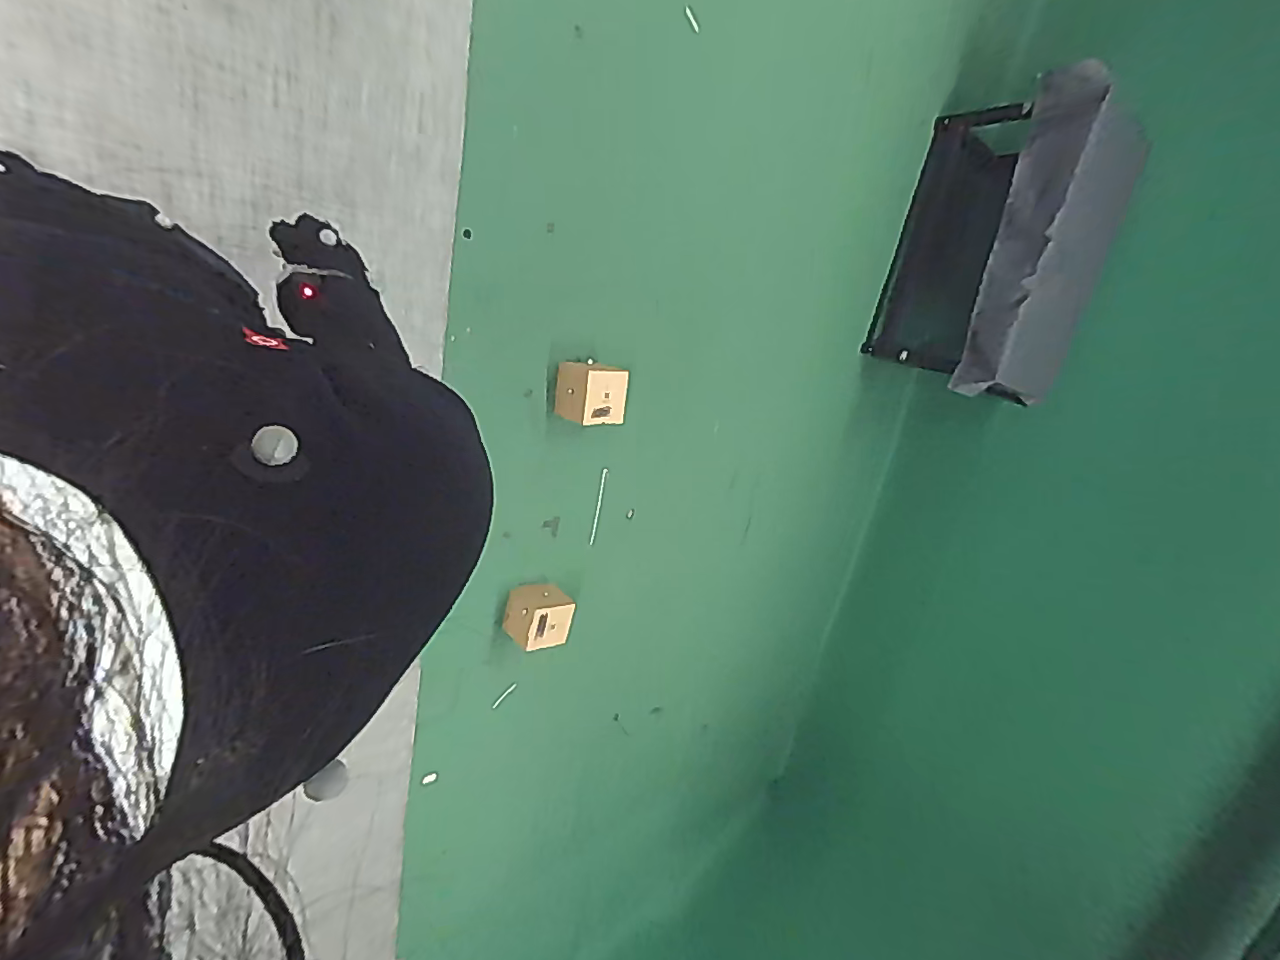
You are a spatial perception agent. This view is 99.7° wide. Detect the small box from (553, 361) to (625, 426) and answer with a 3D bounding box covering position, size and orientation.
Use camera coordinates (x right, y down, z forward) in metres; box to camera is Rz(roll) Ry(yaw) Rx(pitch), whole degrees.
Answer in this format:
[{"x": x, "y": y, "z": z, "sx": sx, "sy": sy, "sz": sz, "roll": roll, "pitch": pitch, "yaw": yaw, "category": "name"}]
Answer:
[{"x": -0.173, "y": -0.286, "z": 1.778, "sx": 0.168, "sy": 0.176, "sz": 0.179, "roll": -8, "pitch": 114, "yaw": -42, "category": "small box"}]
